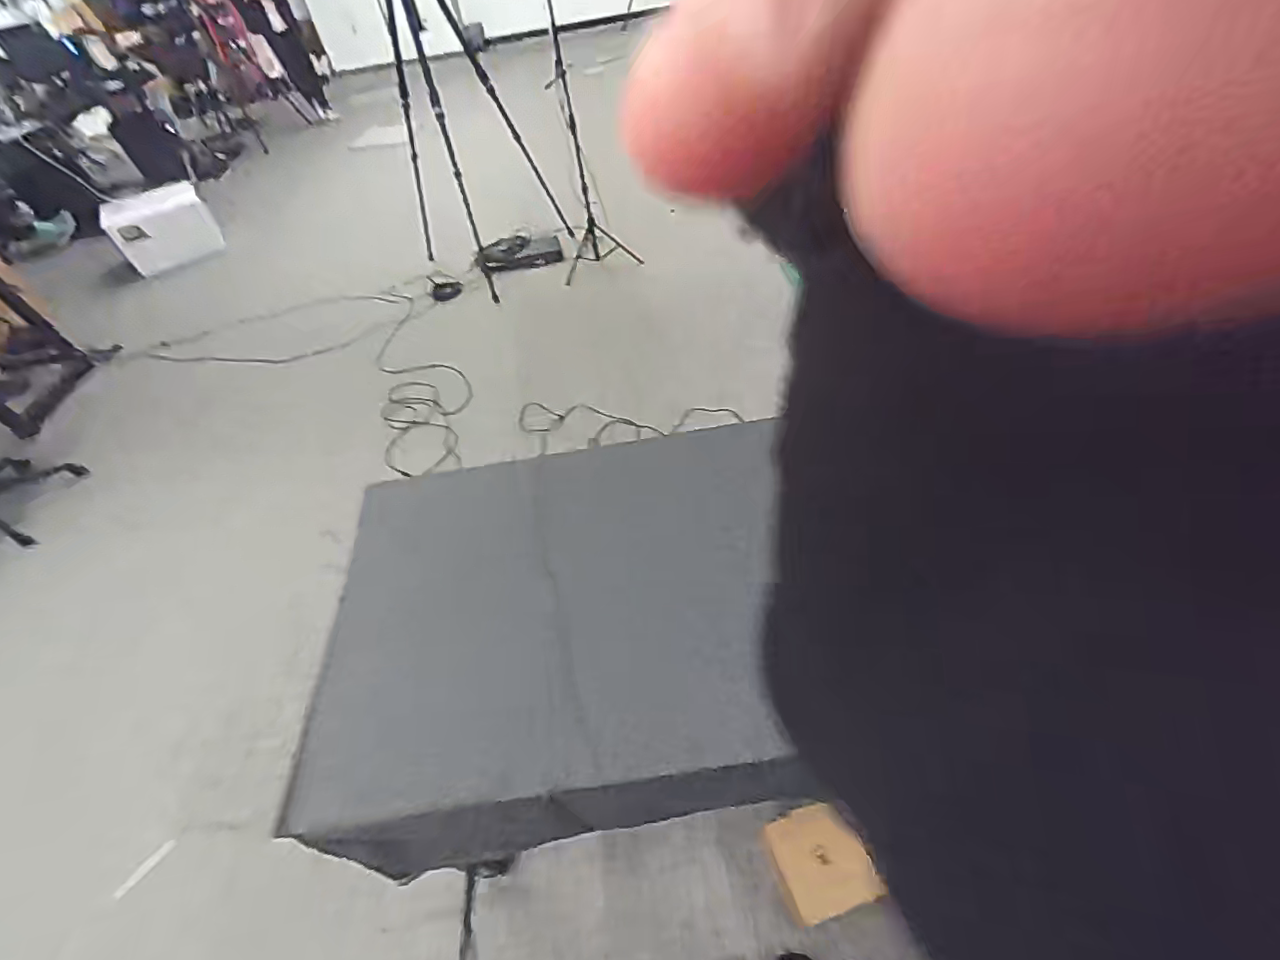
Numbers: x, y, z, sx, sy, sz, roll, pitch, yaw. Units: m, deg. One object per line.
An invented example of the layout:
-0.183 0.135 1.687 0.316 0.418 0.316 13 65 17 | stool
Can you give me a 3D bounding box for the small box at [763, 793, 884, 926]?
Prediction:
0.366 0.789 1.121 0.168 0.176 0.179 -18 49 -7 | small box
